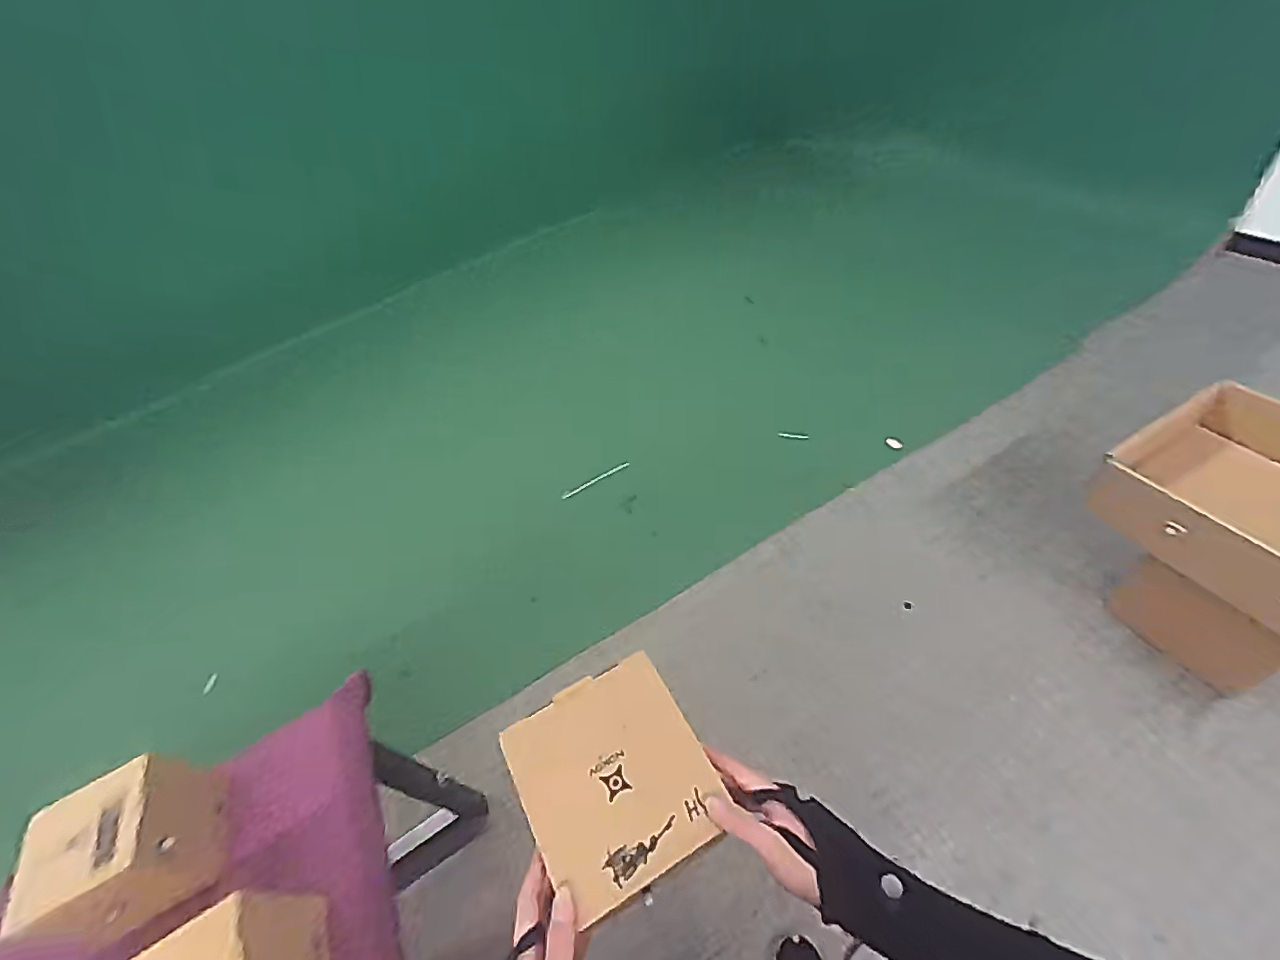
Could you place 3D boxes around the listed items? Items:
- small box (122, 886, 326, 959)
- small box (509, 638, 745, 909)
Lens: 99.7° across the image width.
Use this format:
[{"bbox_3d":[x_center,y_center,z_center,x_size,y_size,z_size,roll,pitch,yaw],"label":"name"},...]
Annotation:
[{"bbox_3d":[-0.527,0.656,0.676,0.179,0.176,0.168,-31,49,-11],"label":"small box"},{"bbox_3d":[-0.013,0.303,0.560,0.168,0.176,0.179,-26,55,-14],"label":"small box"}]
